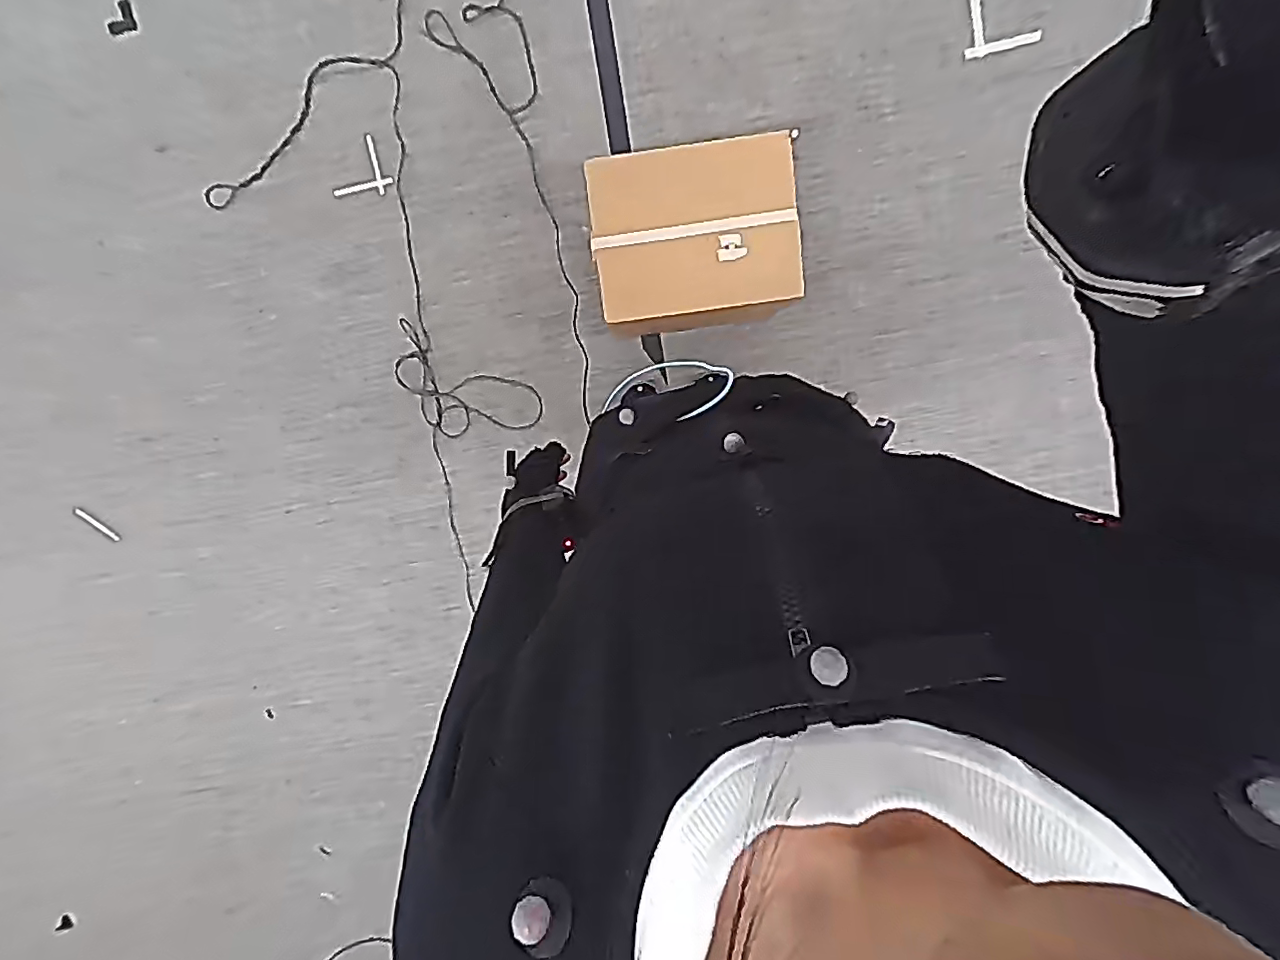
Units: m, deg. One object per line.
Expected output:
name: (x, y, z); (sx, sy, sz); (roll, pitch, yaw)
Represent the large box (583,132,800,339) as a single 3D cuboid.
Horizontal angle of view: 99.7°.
large box: (0.105, -0.517, 1.219); (0.408, 0.320, 0.320); (-8, 99, 1)
